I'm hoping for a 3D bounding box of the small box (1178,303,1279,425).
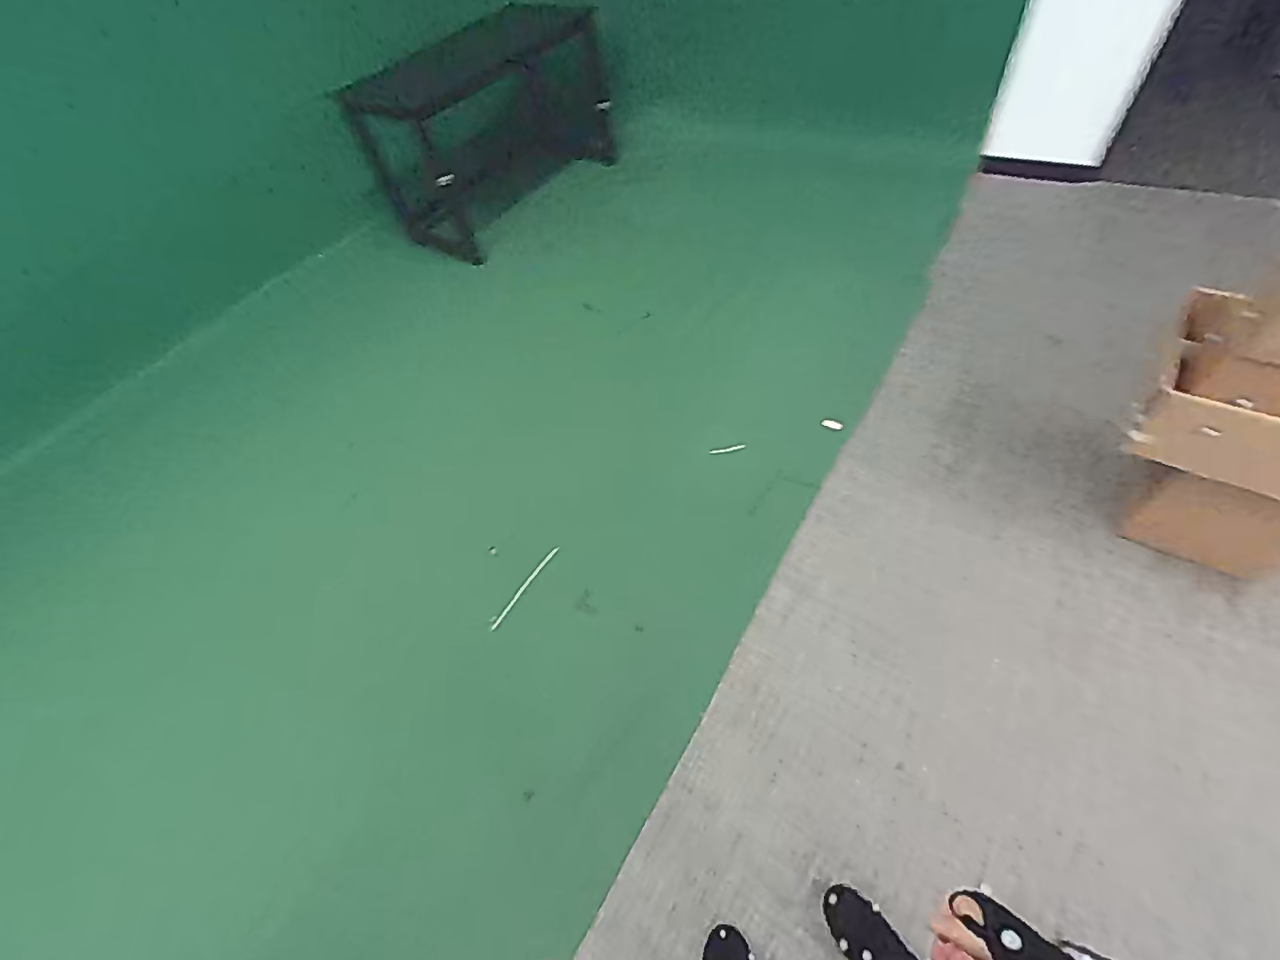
[{"bbox_3d":[1.340,-0.254,1.189,0.168,0.176,0.179,21,61,24],"label":"small box"}]

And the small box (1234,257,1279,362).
[{"bbox_3d":[1.317,-0.335,1.047,0.168,0.176,0.179,22,62,23],"label":"small box"}]
